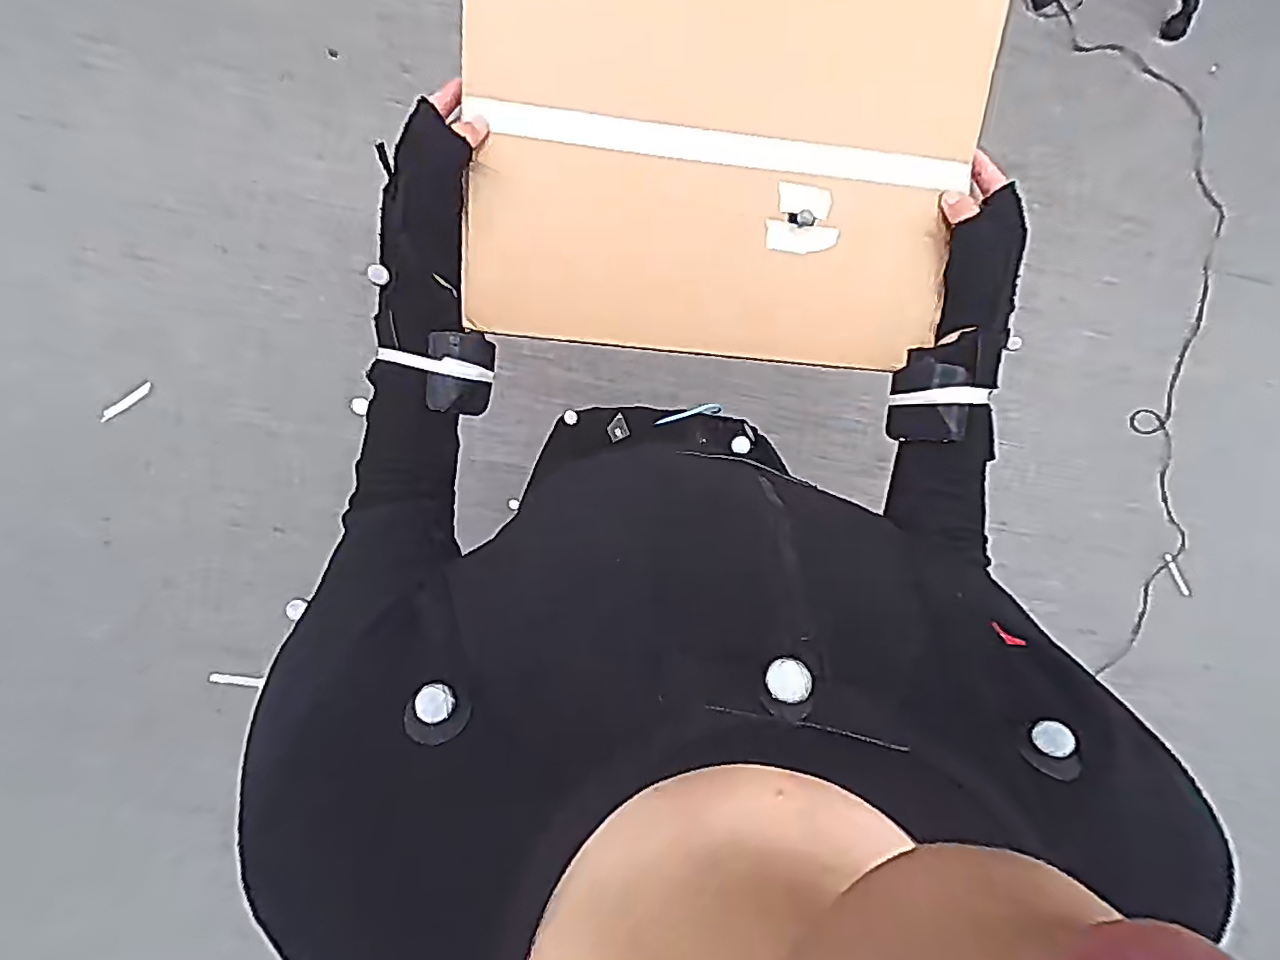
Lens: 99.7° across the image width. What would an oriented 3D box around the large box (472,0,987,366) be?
[{"bbox_3d":[0.051,-0.302,0.581,0.408,0.320,0.320,4,106,-7],"label":"large box"}]
